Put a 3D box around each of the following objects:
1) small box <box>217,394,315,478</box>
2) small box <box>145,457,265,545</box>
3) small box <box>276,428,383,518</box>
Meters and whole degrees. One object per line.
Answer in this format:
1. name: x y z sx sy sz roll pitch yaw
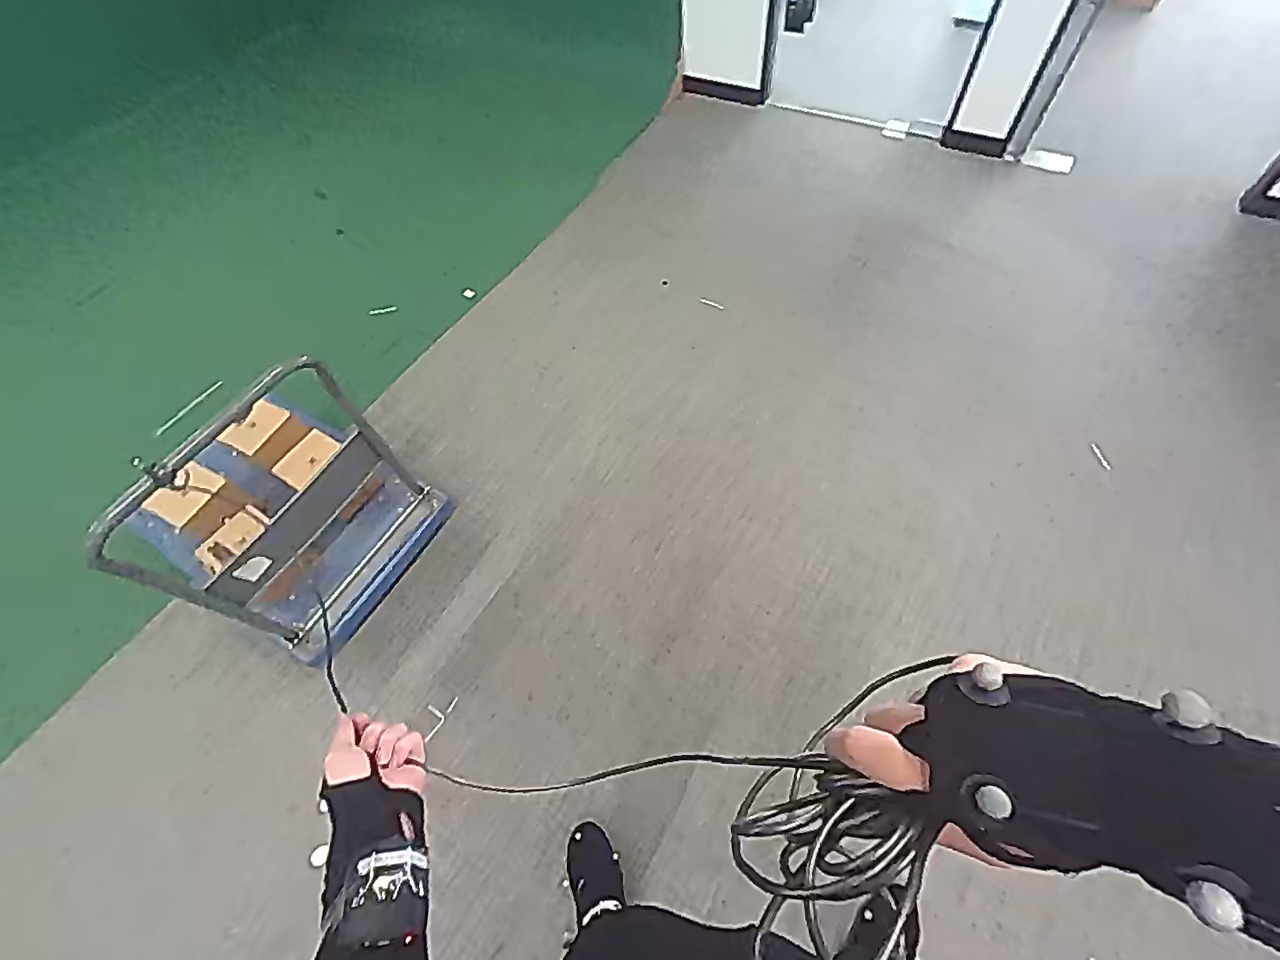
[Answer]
1. small box: -1.135 -0.131 1.674 0.179 0.176 0.168 24 66 16
2. small box: -1.251 0.068 1.571 0.179 0.176 0.168 23 64 17
3. small box: -0.905 -0.015 1.591 0.179 0.176 0.168 28 66 18
